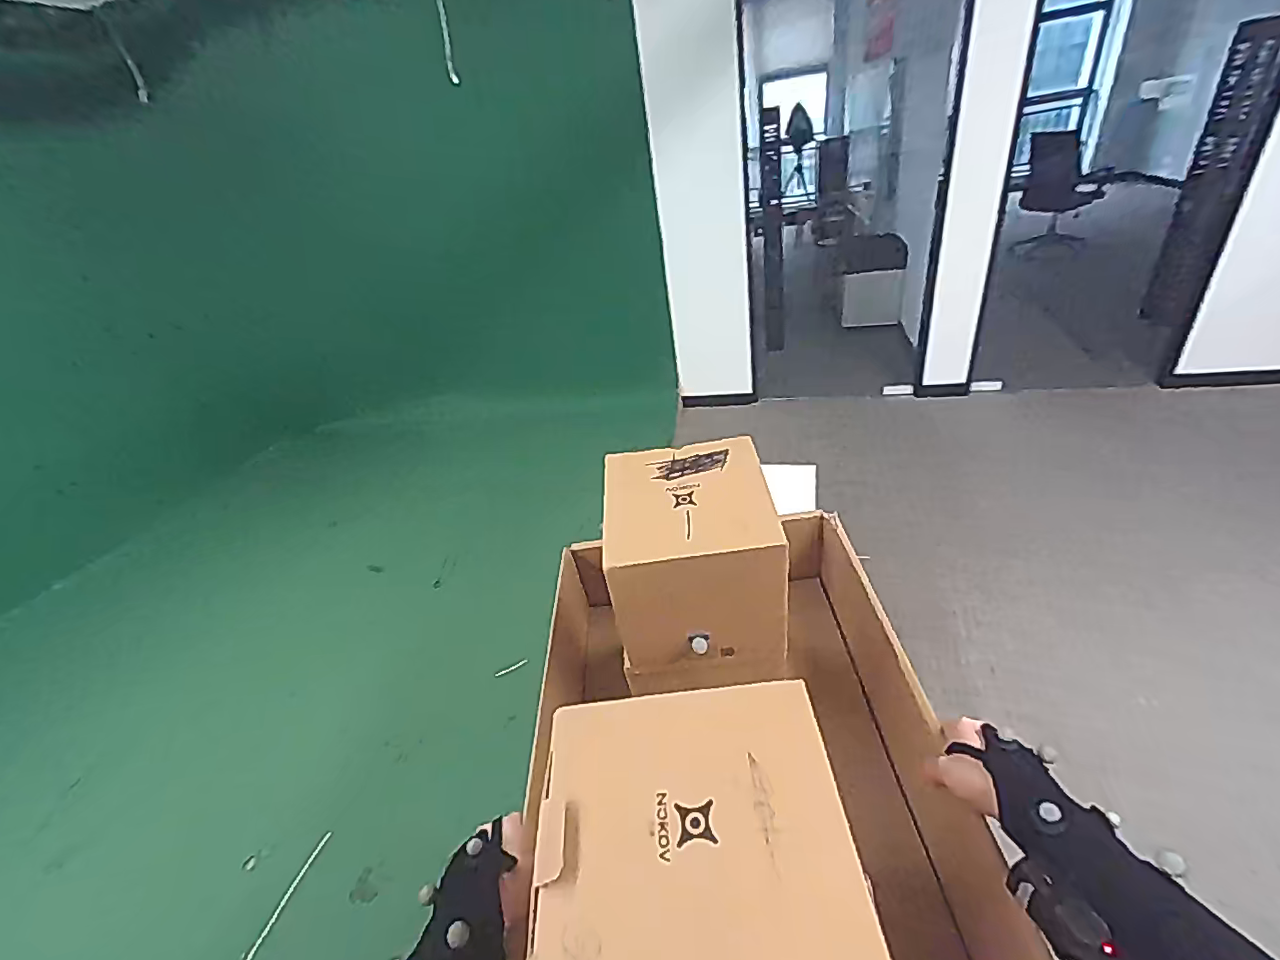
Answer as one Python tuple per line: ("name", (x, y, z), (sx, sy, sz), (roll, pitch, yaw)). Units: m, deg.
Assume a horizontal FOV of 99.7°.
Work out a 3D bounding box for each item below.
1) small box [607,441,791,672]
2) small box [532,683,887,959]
("small box", (0.061, 0.081, 0.590), (0.168, 0.176, 0.179), (-8, 38, 5))
("small box", (0.041, 0.263, 0.360), (0.179, 0.176, 0.168), (-7, 36, 3))
